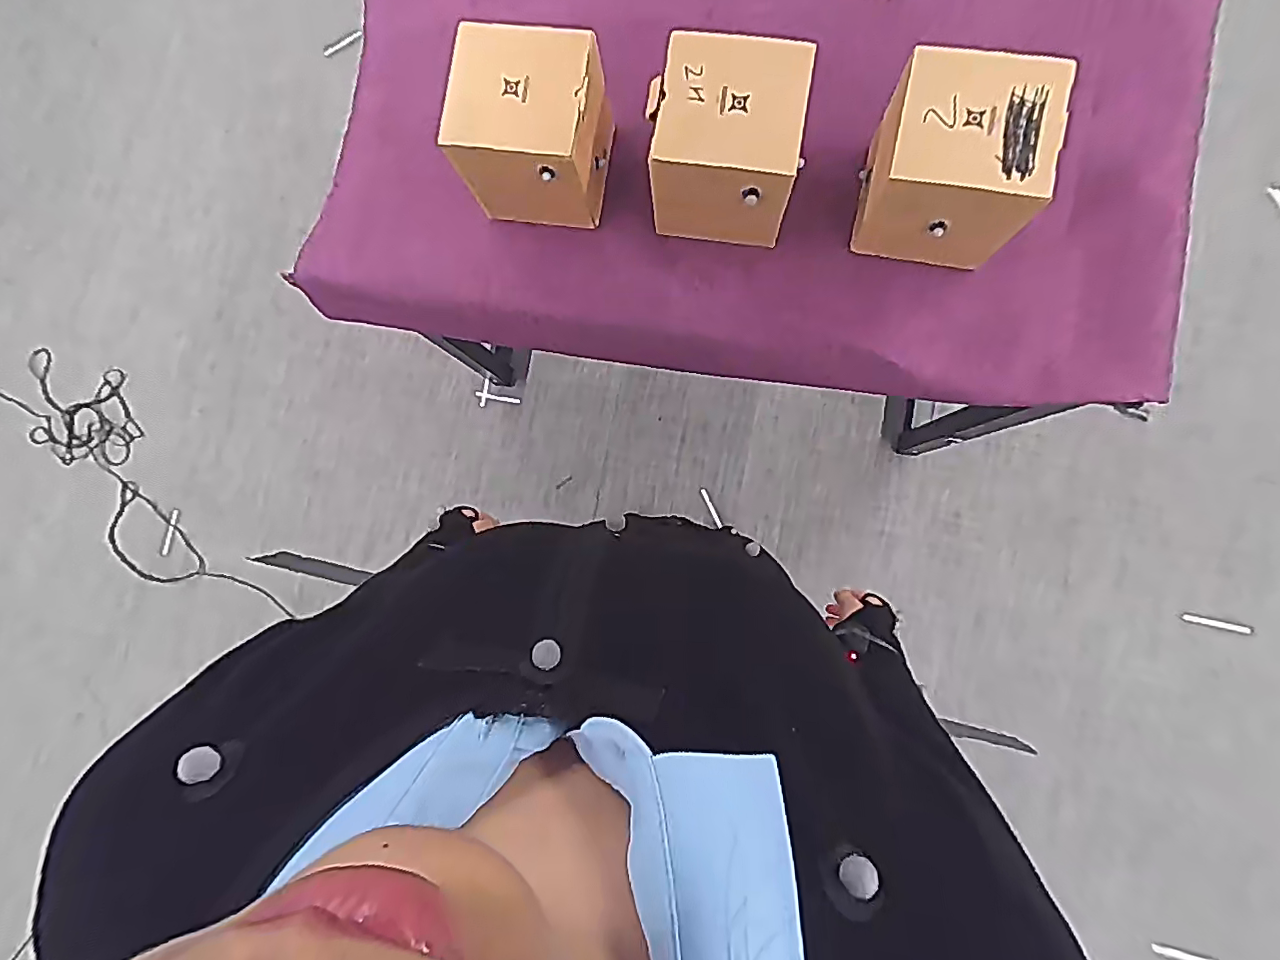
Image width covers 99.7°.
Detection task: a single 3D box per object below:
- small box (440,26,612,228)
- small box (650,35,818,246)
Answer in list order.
[{"bbox_3d":[-0.145,-0.472,0.745,0.179,0.176,0.168,8,86,5],"label":"small box"},{"bbox_3d":[0.118,-0.433,0.716,0.179,0.176,0.168,9,86,6],"label":"small box"}]
